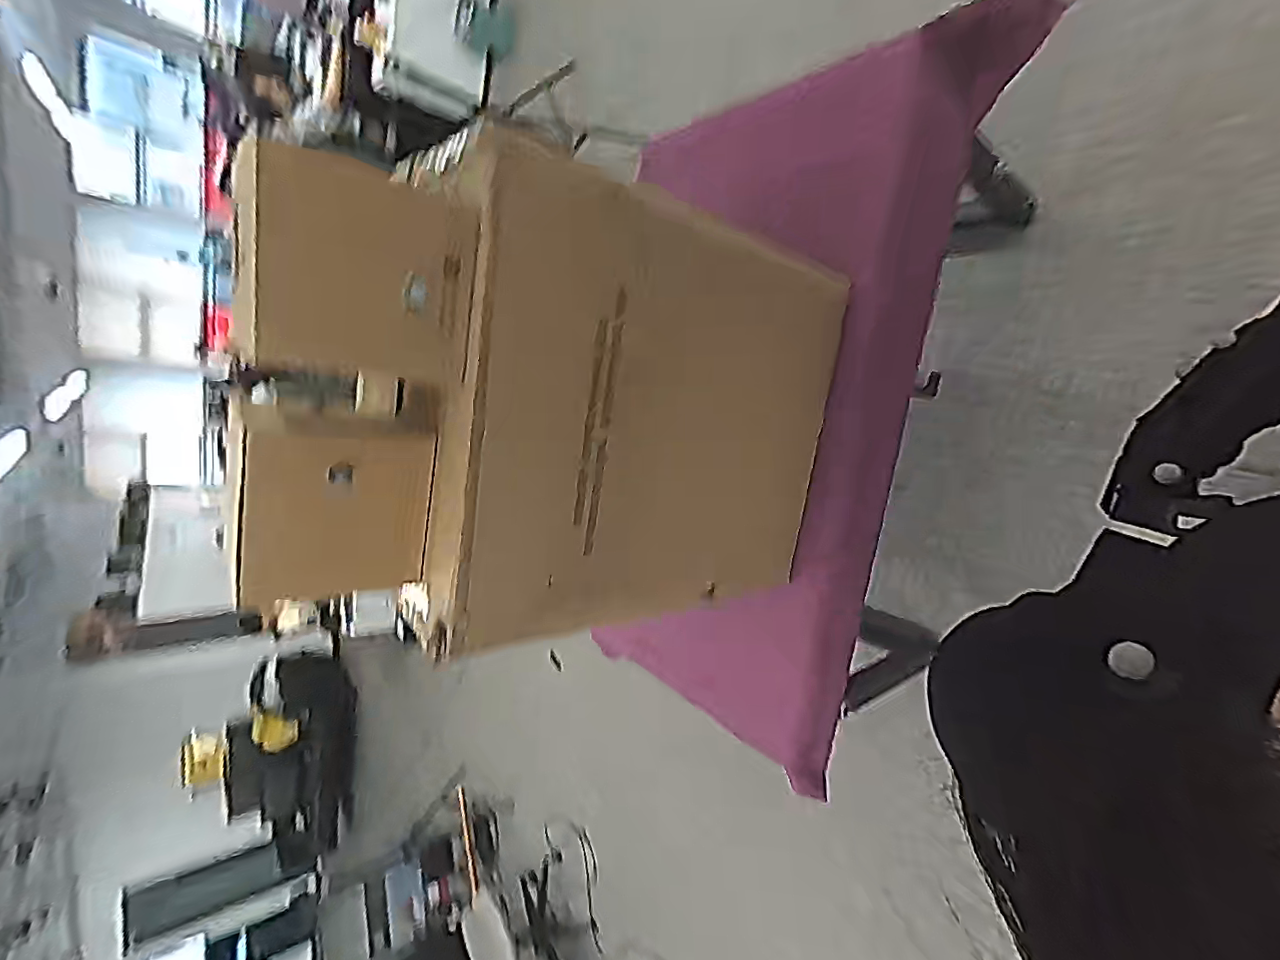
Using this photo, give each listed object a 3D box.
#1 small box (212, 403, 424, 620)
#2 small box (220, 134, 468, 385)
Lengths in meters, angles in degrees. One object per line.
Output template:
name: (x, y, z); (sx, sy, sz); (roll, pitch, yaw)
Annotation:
small box: (-0.344, 0.023, 0.578); (0.168, 0.176, 0.179); (22, 107, 48)
small box: (-0.279, -0.185, 0.501); (0.179, 0.176, 0.168); (24, 109, 47)
